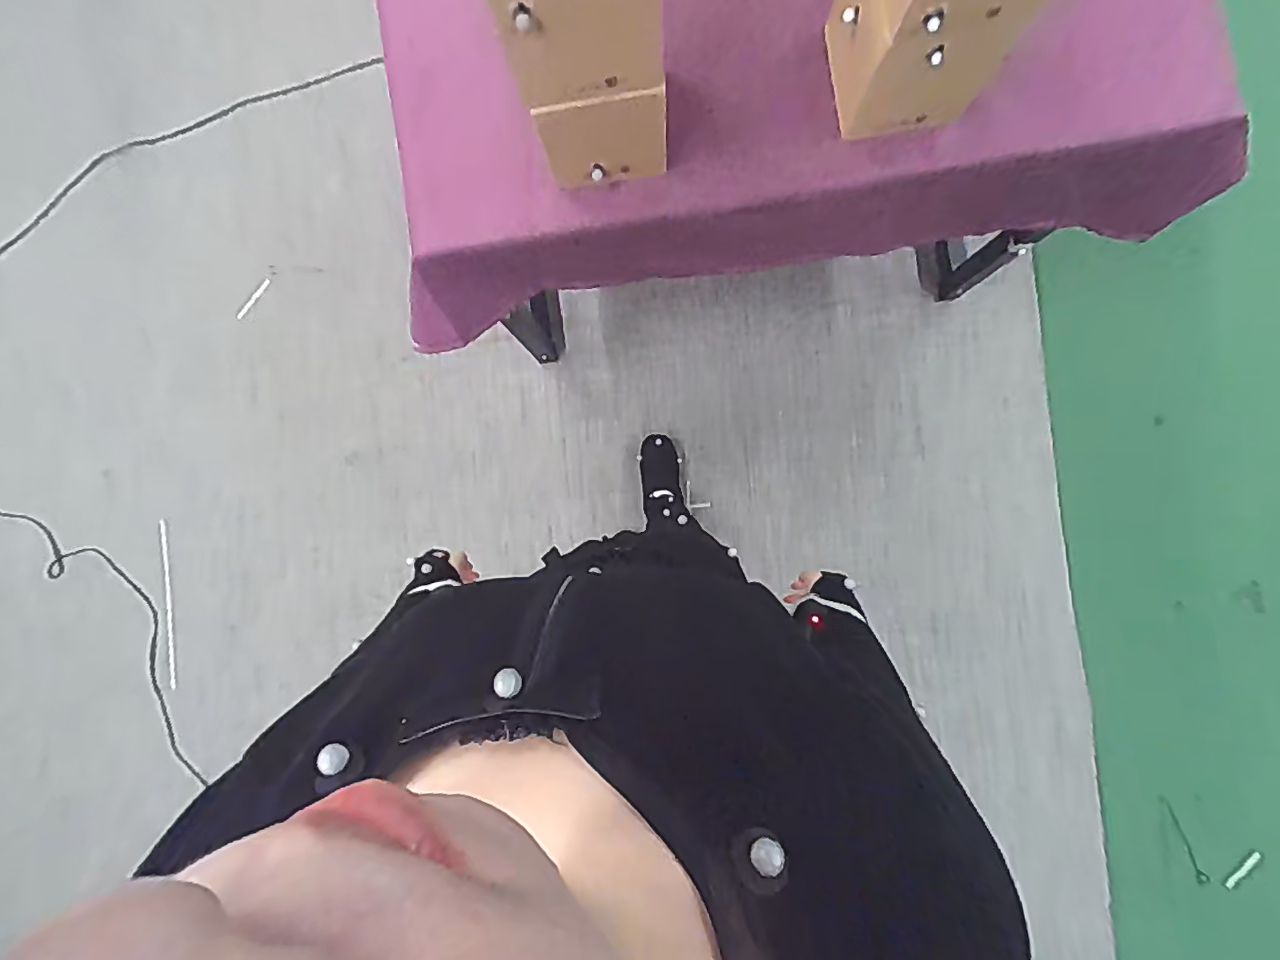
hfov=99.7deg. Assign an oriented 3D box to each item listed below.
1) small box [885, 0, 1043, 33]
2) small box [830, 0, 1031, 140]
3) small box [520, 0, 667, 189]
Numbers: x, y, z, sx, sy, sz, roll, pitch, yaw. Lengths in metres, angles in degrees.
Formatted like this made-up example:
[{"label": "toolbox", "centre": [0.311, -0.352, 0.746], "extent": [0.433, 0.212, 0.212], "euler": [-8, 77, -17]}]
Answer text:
[{"label": "small box", "centre": [0.354, -0.597, 0.543], "extent": [0.168, 0.176, 0.179], "euler": [-9, 87, 2]}, {"label": "small box", "centre": [0.360, -0.591, 0.706], "extent": [0.168, 0.176, 0.179], "euler": [-8, 87, 4]}, {"label": "small box", "centre": [-0.055, -0.529, 0.725], "extent": [0.168, 0.176, 0.179], "euler": [-7, 88, 3]}]
